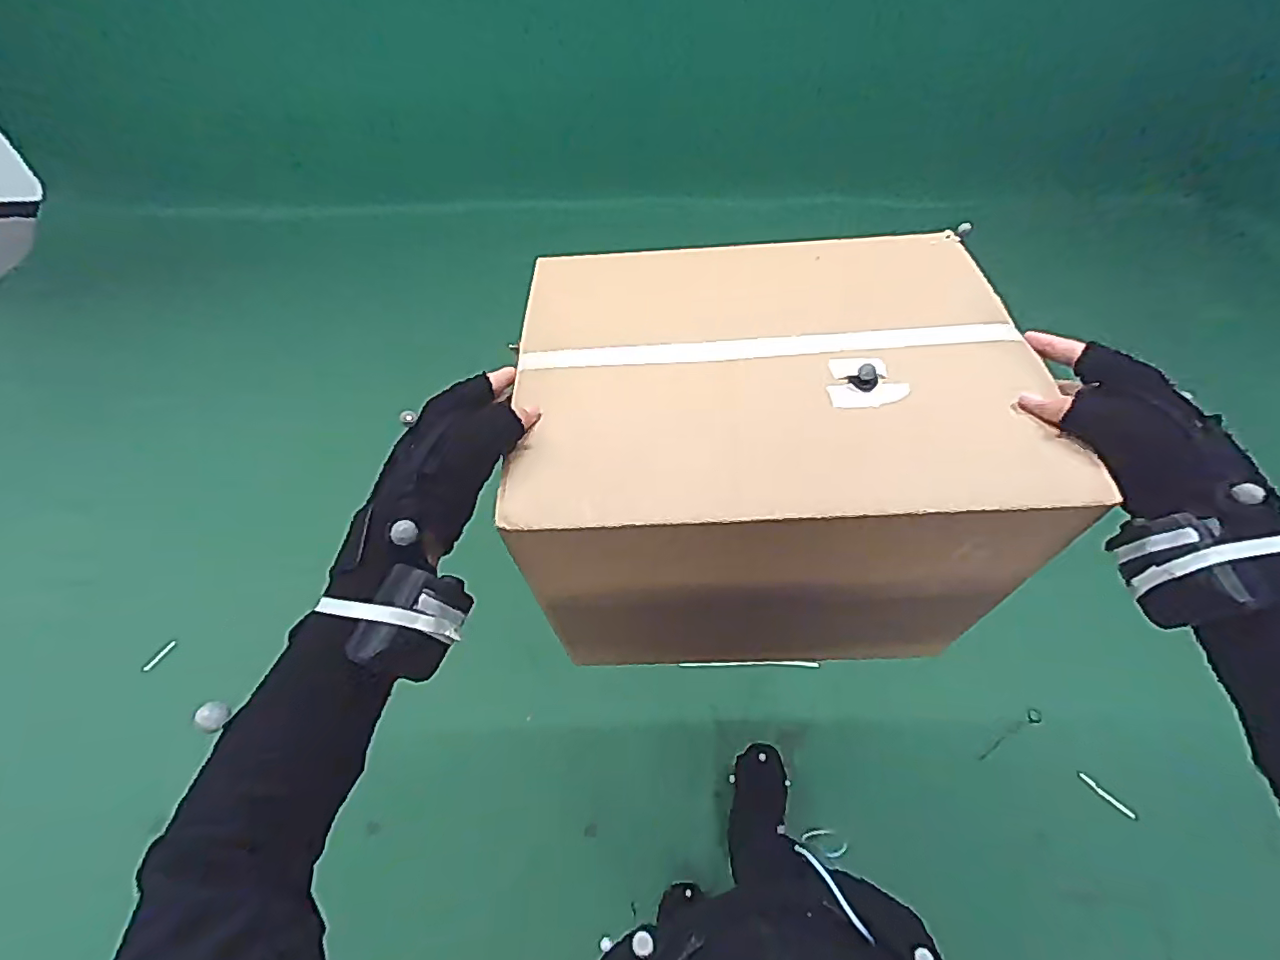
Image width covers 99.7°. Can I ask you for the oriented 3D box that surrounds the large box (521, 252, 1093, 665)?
[{"bbox_3d":[0.114,-0.009,0.577,0.408,0.320,0.320,-2,55,2],"label":"large box"}]
